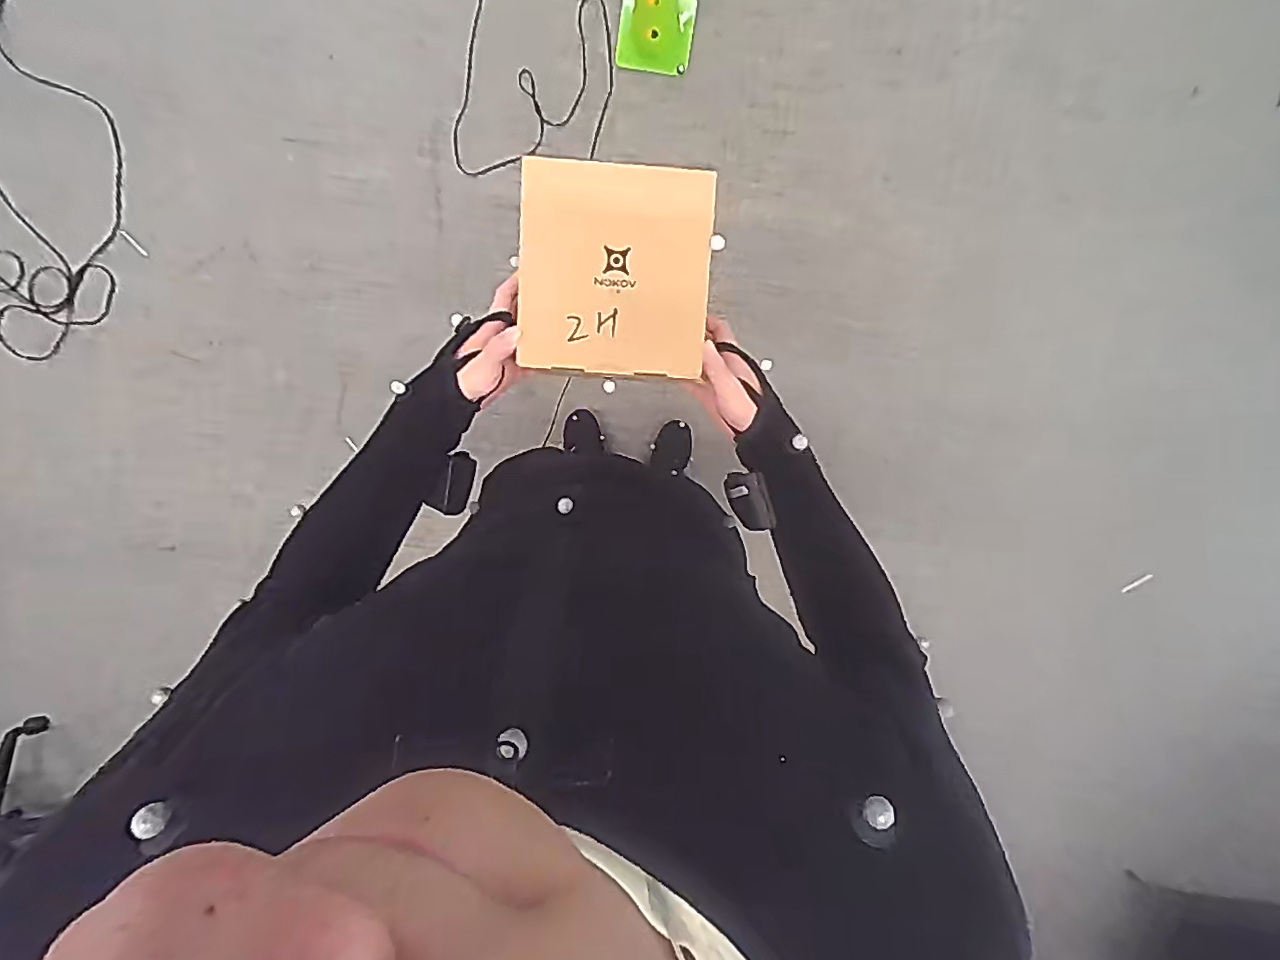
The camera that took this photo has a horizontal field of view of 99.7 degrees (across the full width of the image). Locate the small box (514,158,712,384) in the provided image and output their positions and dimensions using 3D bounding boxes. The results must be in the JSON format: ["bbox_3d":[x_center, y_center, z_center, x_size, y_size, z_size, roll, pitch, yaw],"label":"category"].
[{"bbox_3d":[-0.029,-0.195,0.554,0.168,0.176,0.179,4,100,-3],"label":"small box"}]

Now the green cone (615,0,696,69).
[{"bbox_3d":[0.035,-1.203,1.286,0.202,0.368,0.200,9,98,1],"label":"green cone"}]
